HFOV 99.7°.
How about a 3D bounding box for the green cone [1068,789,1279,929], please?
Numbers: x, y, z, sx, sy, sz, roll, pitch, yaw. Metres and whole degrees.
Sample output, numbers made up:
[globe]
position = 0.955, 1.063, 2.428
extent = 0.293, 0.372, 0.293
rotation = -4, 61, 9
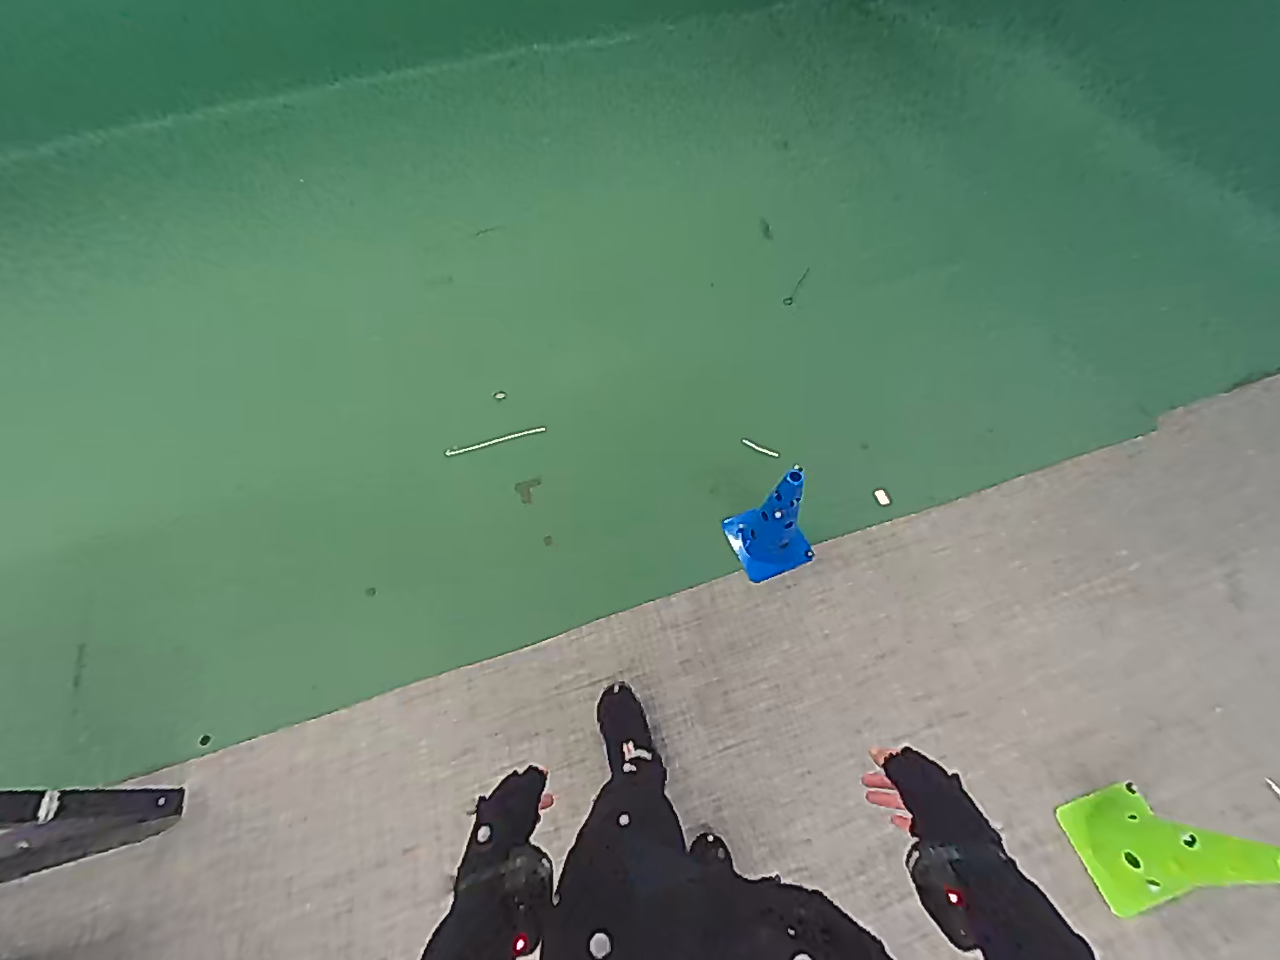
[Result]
[green cone]
position = 1.017, 0.690, 0.967
extent = 0.200, 0.368, 0.202
rotation = -18, 61, -7
